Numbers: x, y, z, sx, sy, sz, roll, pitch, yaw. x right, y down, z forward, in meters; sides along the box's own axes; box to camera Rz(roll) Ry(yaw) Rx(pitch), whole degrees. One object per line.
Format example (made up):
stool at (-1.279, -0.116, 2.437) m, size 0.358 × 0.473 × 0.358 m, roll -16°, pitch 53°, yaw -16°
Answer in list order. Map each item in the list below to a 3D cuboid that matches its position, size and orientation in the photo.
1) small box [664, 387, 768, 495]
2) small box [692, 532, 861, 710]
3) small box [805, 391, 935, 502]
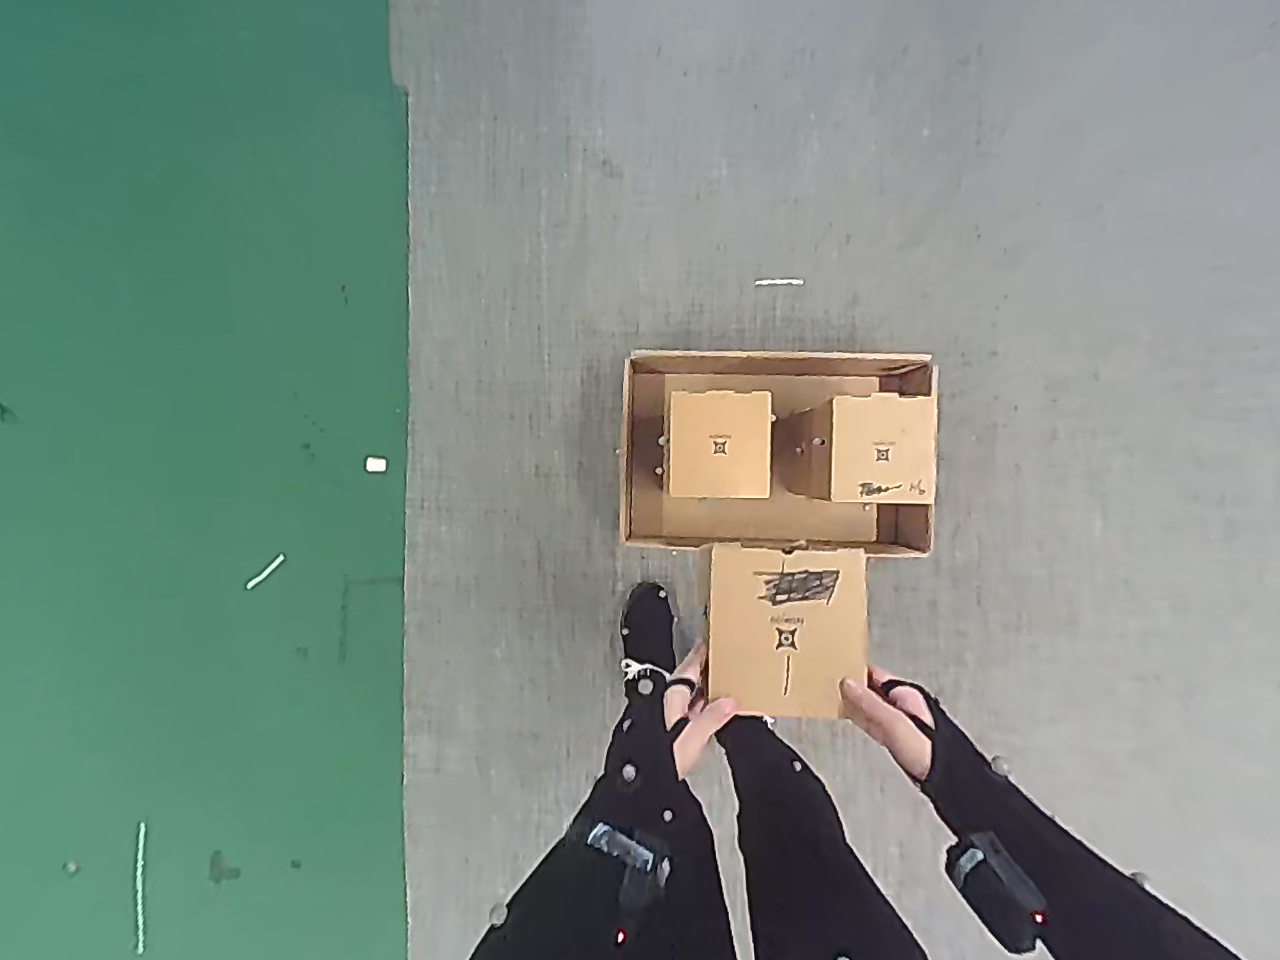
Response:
small box at (0.128, -0.065, 0.958) m, size 0.168 × 0.176 × 0.179 m, roll 1°, pitch 90°, yaw 2°
small box at (0.151, 0.156, 0.646) m, size 0.168 × 0.176 × 0.179 m, roll 3°, pitch 83°, yaw 2°
small box at (0.392, -0.053, 0.948) m, size 0.168 × 0.176 × 0.179 m, roll 2°, pitch 90°, yaw 4°
